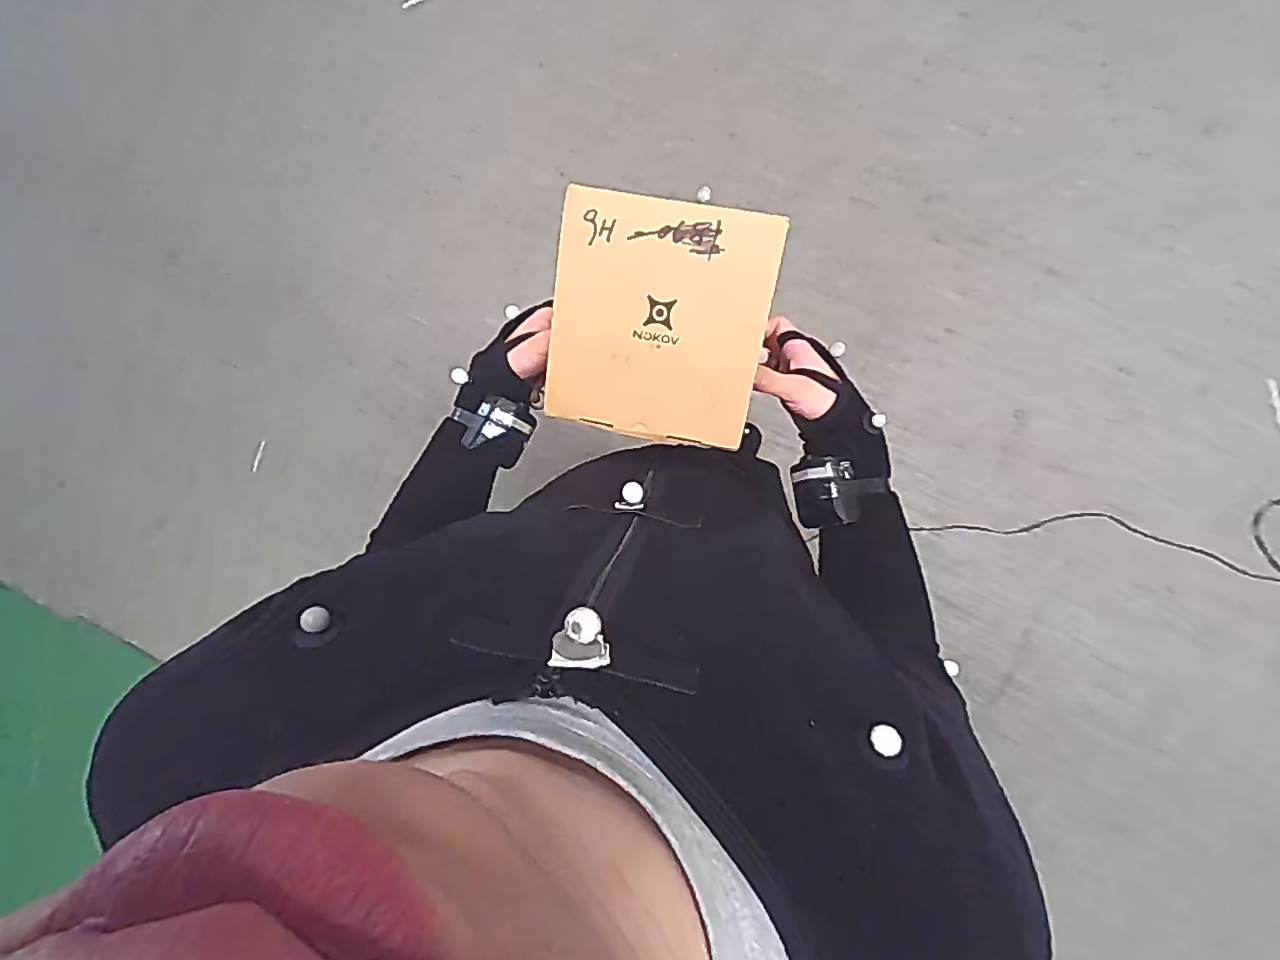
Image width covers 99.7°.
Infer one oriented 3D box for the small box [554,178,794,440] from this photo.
[{"bbox_3d":[0.029,-0.153,0.493,0.168,0.176,0.179,10,110,3],"label":"small box"}]
